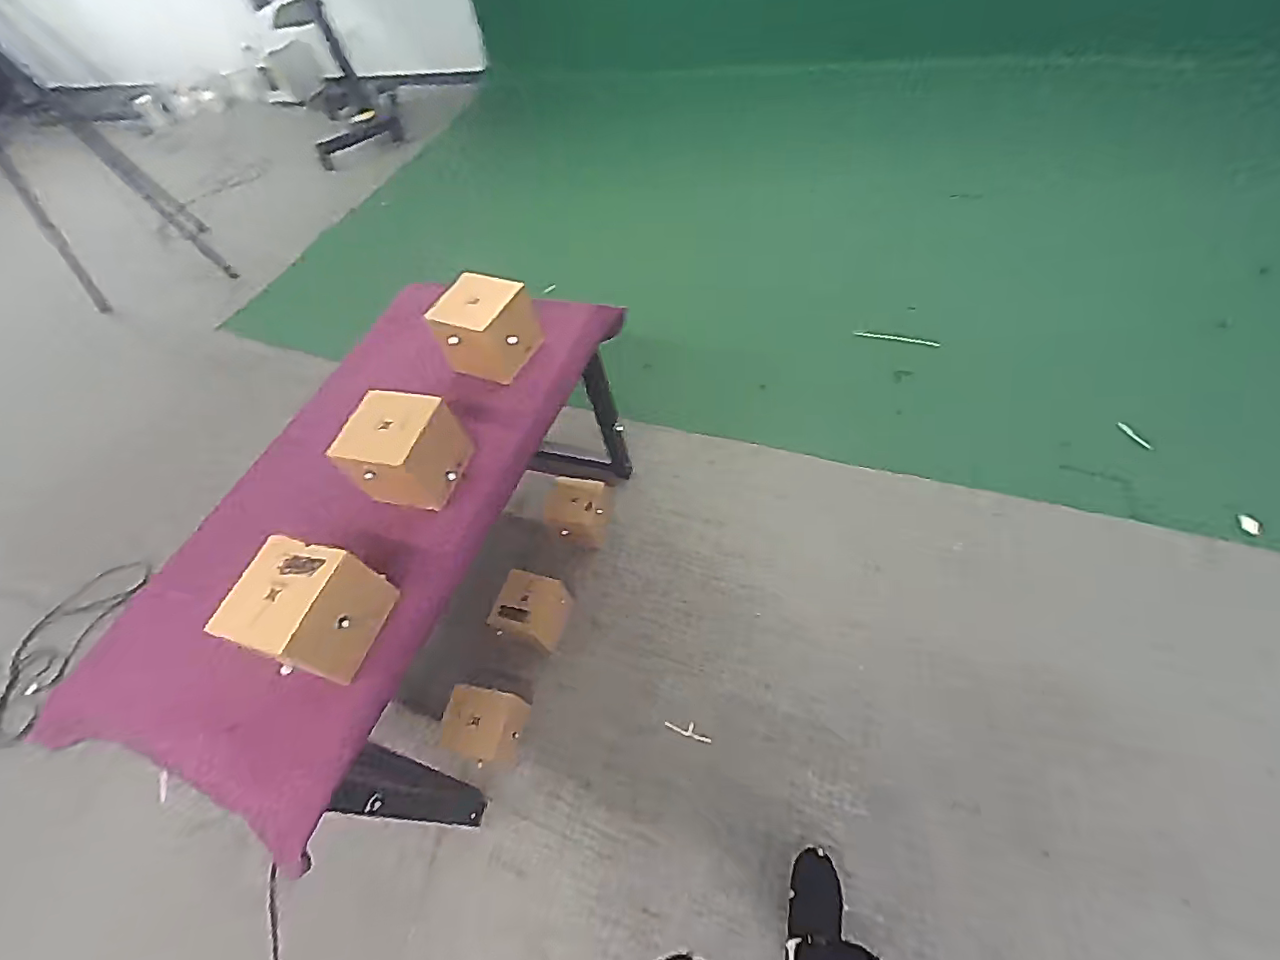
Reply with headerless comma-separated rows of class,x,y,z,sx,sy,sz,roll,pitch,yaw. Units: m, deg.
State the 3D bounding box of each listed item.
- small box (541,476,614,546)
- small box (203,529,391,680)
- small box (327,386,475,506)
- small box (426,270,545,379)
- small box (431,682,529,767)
small box,-0.203,0.107,1.808,0.179,0.176,0.168,7,57,16
small box,-0.553,0.210,0.905,0.168,0.176,0.179,9,58,18
small box,-0.467,-0.065,1.084,0.179,0.176,0.168,9,59,17
small box,-0.351,-0.360,1.267,0.179,0.176,0.168,18,62,23
small box,-0.420,0.664,1.461,0.179,0.176,0.168,6,57,14
